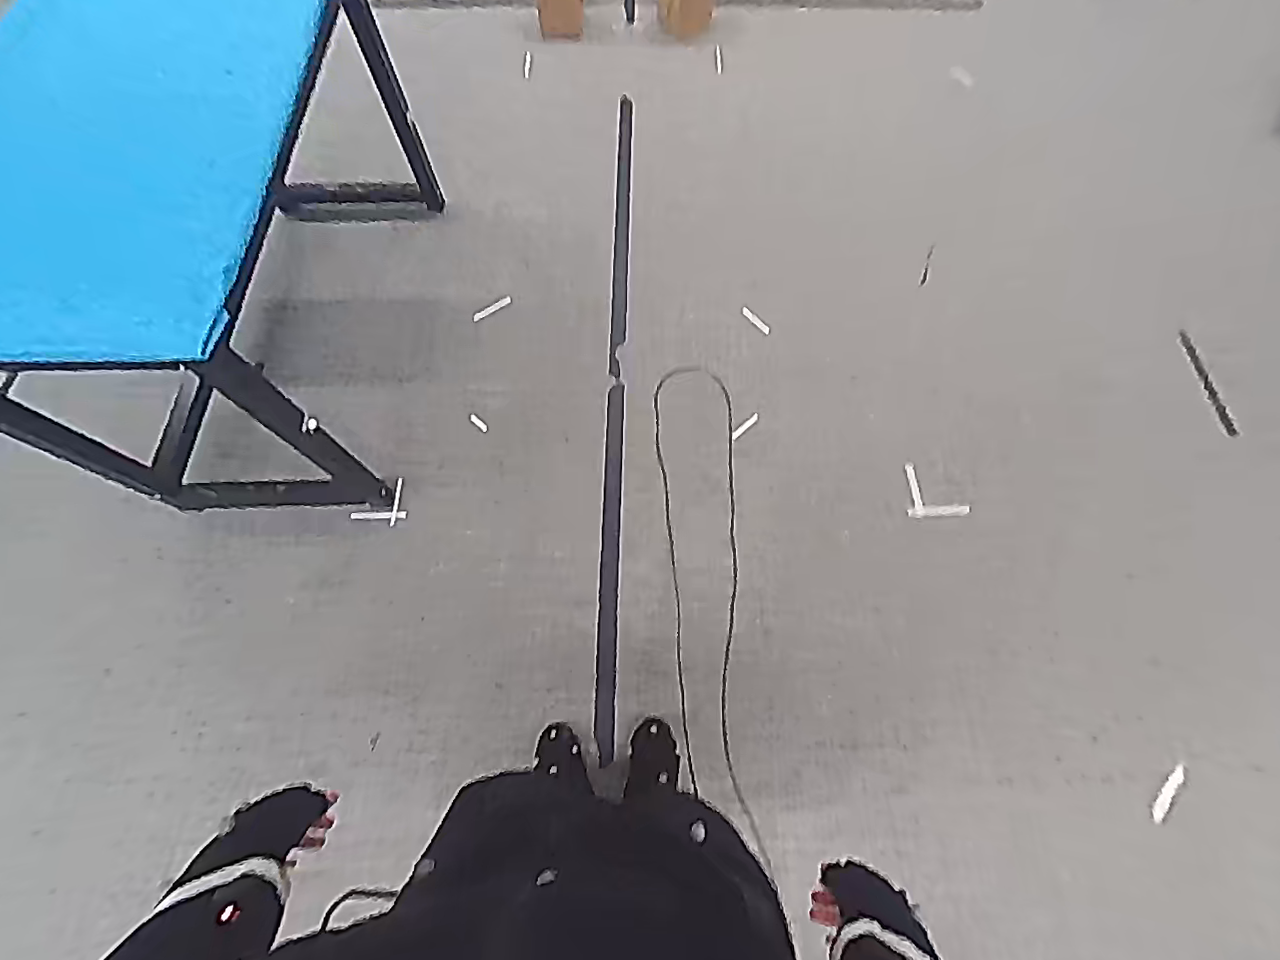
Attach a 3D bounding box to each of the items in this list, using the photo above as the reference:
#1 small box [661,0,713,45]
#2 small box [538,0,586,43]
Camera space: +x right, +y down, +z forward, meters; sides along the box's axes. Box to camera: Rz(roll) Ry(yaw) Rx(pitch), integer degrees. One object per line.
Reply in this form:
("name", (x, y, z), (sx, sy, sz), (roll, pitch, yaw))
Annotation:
("small box", (0.201, -2.008, 2.305), (0.179, 0.176, 0.168), (-28, 72, -12))
("small box", (-0.324, -1.992, 2.289), (0.179, 0.176, 0.168), (2, 67, 1))
